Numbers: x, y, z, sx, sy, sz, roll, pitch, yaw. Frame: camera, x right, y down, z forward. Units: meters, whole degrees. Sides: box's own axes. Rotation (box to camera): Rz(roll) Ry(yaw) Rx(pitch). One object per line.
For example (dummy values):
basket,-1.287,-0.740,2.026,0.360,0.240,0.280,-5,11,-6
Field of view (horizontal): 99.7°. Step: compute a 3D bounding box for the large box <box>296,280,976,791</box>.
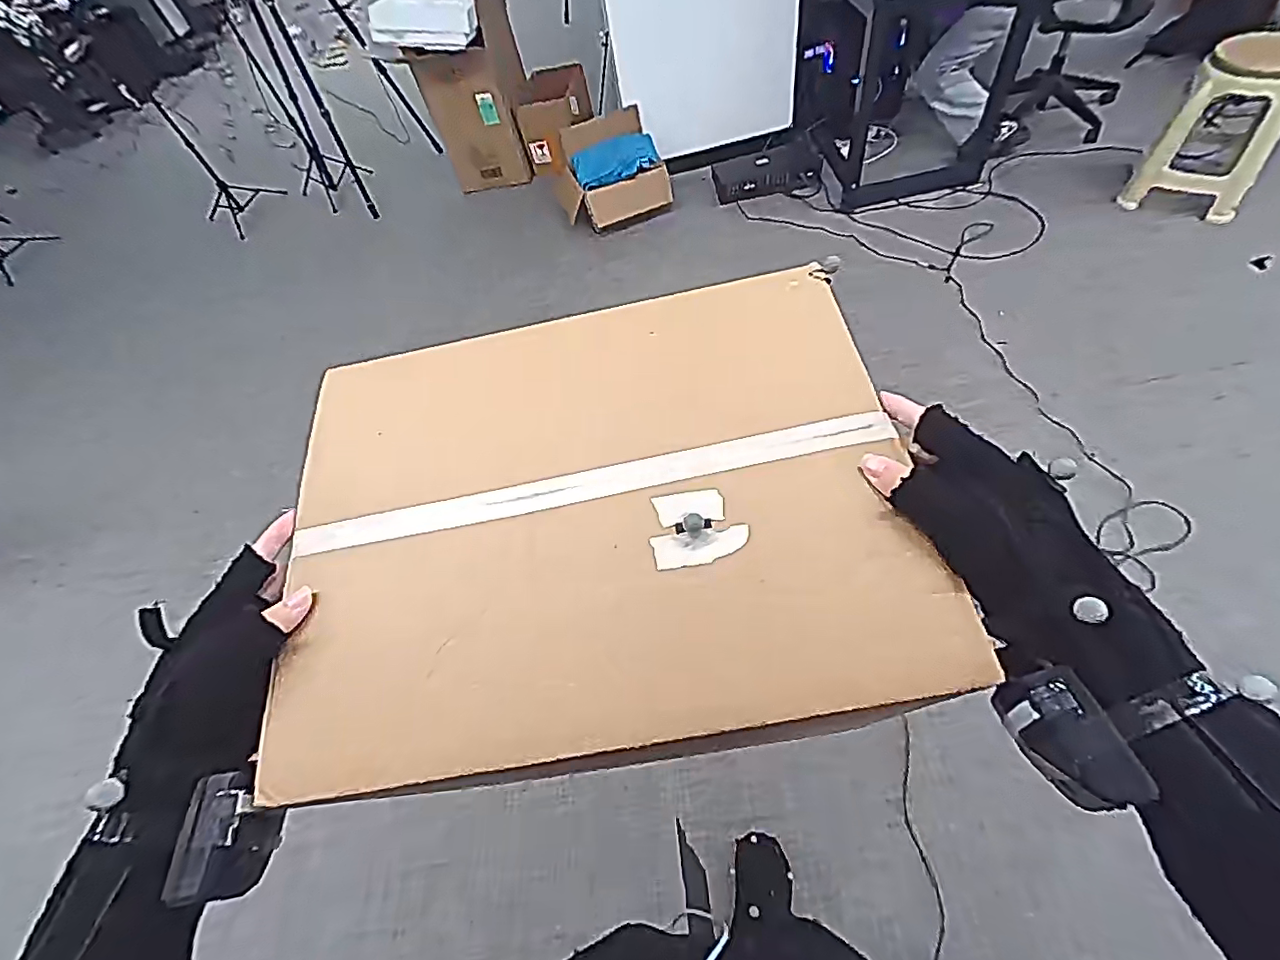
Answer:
large box,-0.011,0.077,0.505,0.408,0.320,0.320,-11,62,3
